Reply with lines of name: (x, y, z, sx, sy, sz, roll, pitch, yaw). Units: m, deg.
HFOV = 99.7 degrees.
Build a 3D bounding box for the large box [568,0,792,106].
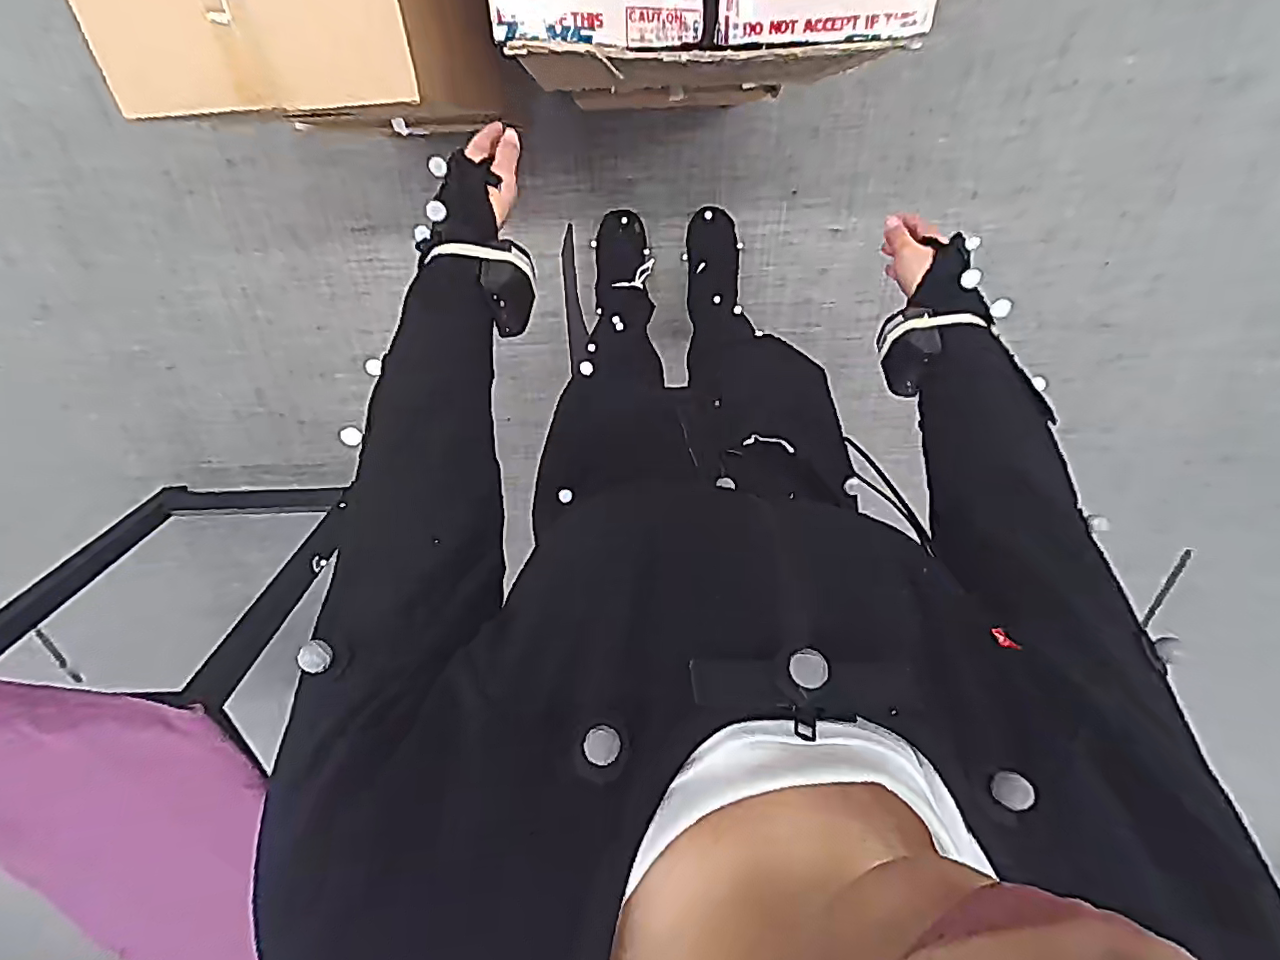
large box: (0.046, -0.820, 0.814, 0.320, 0.320, 0.408, -3, 123, 1)
